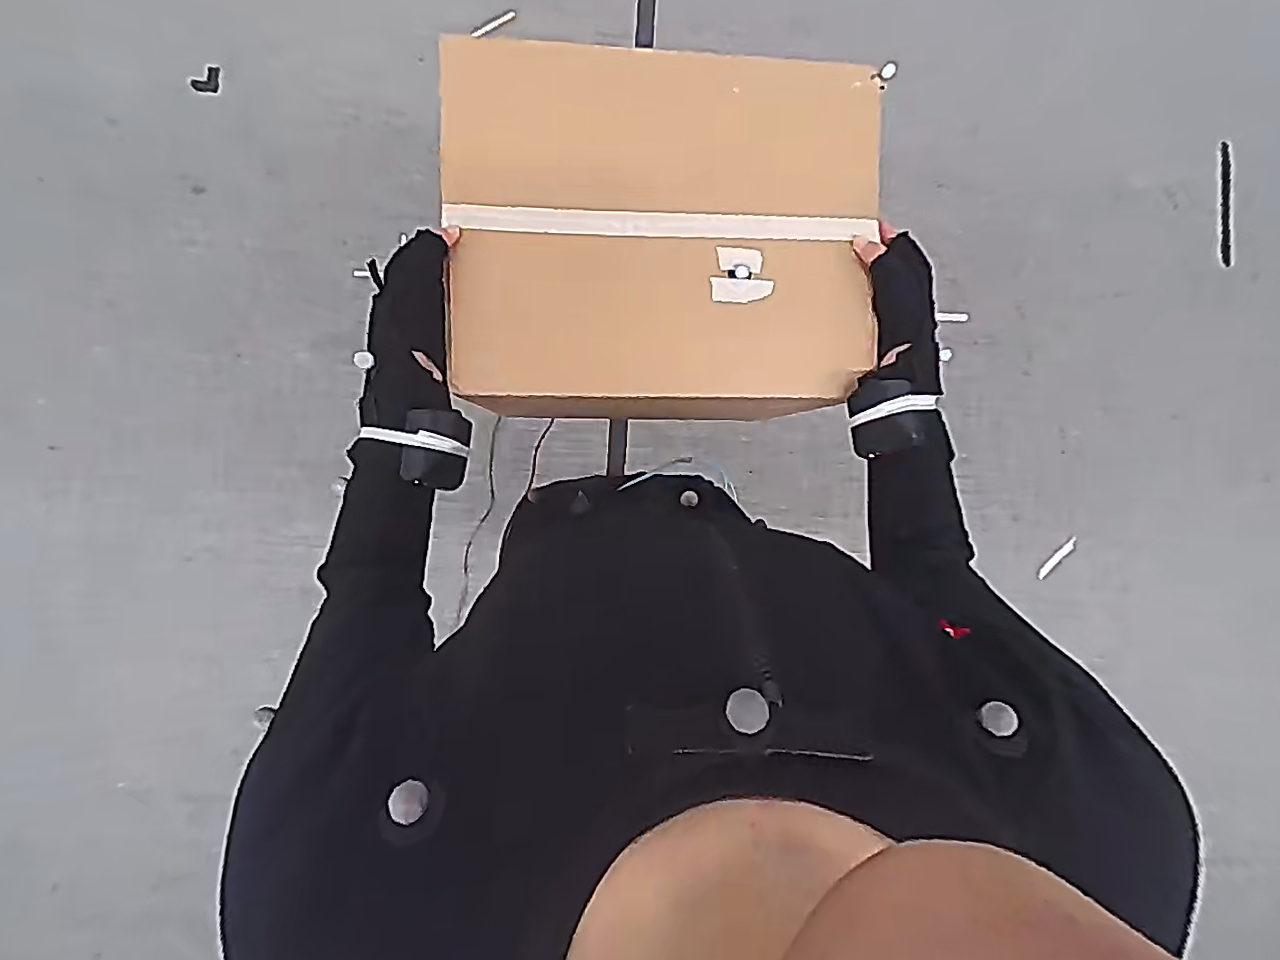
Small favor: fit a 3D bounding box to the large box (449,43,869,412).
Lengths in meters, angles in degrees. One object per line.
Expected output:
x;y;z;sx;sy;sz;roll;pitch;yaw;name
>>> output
0.009;-0.250;0.660;0.408;0.320;0.320;0;94;-6;large box
